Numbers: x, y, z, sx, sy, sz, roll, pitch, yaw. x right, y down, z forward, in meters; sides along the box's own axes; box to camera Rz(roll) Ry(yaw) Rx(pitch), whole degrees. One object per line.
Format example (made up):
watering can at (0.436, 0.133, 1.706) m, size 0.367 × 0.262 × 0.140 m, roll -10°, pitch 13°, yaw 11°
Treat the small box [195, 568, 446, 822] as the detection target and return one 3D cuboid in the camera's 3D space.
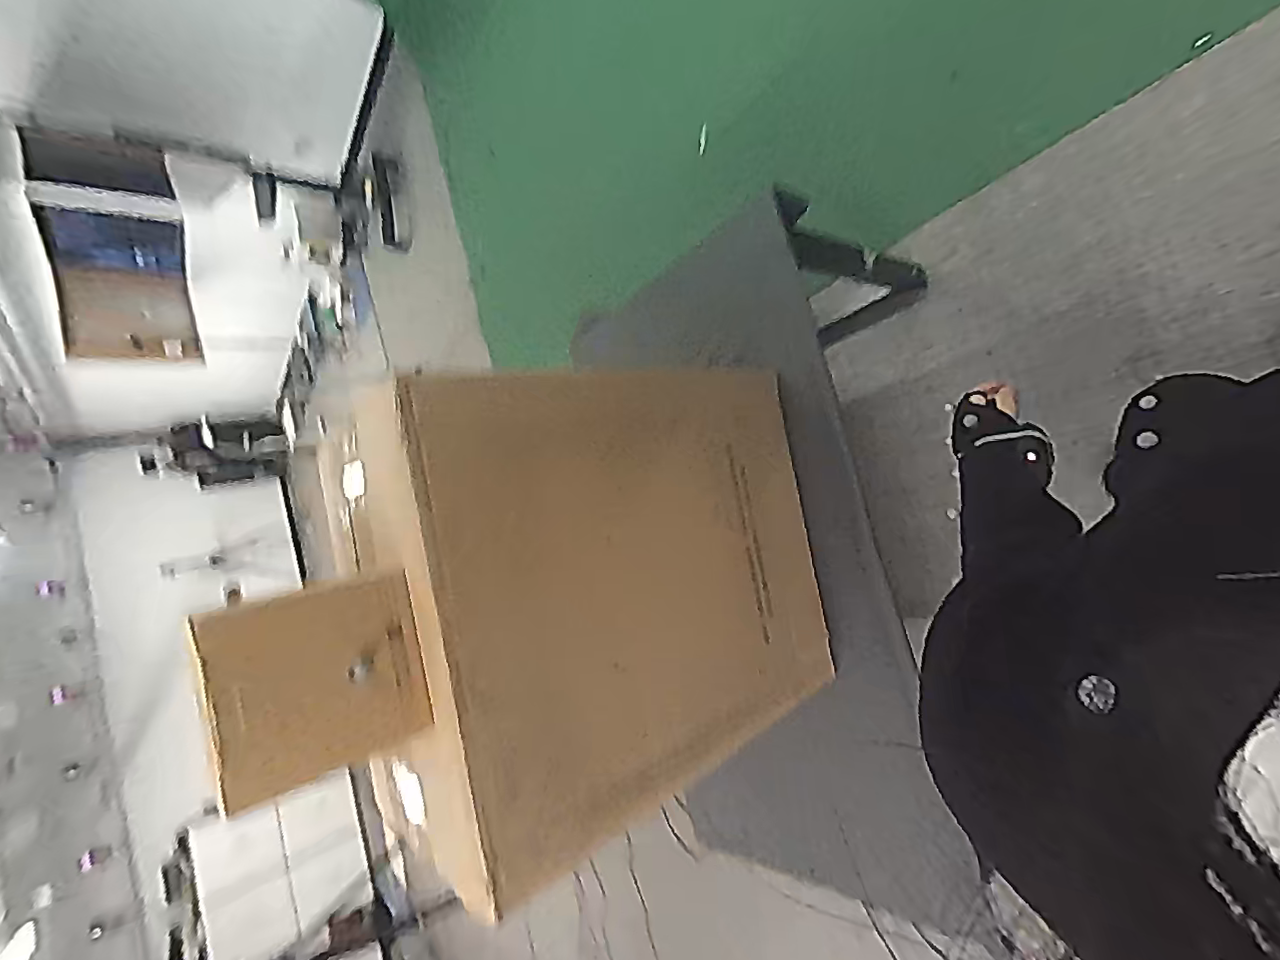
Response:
small box at (-0.315, 0.189, 0.534) m, size 0.179 × 0.176 × 0.168 m, roll -16°, pitch 86°, yaw 46°
